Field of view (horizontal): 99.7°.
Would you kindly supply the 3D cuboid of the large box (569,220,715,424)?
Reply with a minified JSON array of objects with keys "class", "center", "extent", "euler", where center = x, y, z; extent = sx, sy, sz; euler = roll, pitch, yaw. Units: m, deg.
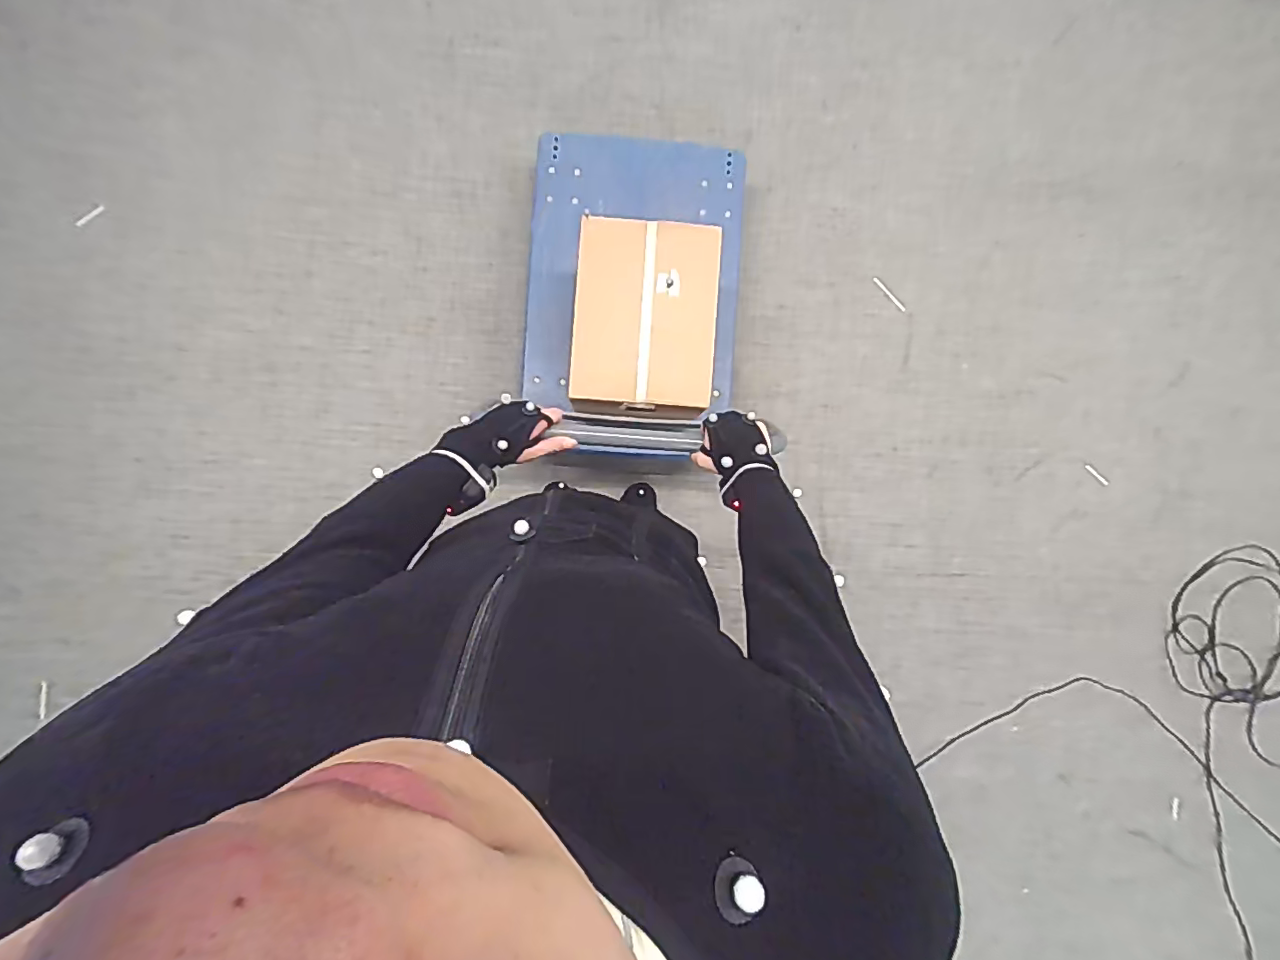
[{"class":"large box","center":[0.001,-0.360,1.335],"extent":[0.320,0.320,0.408],"euler":[3,88,-3]}]
